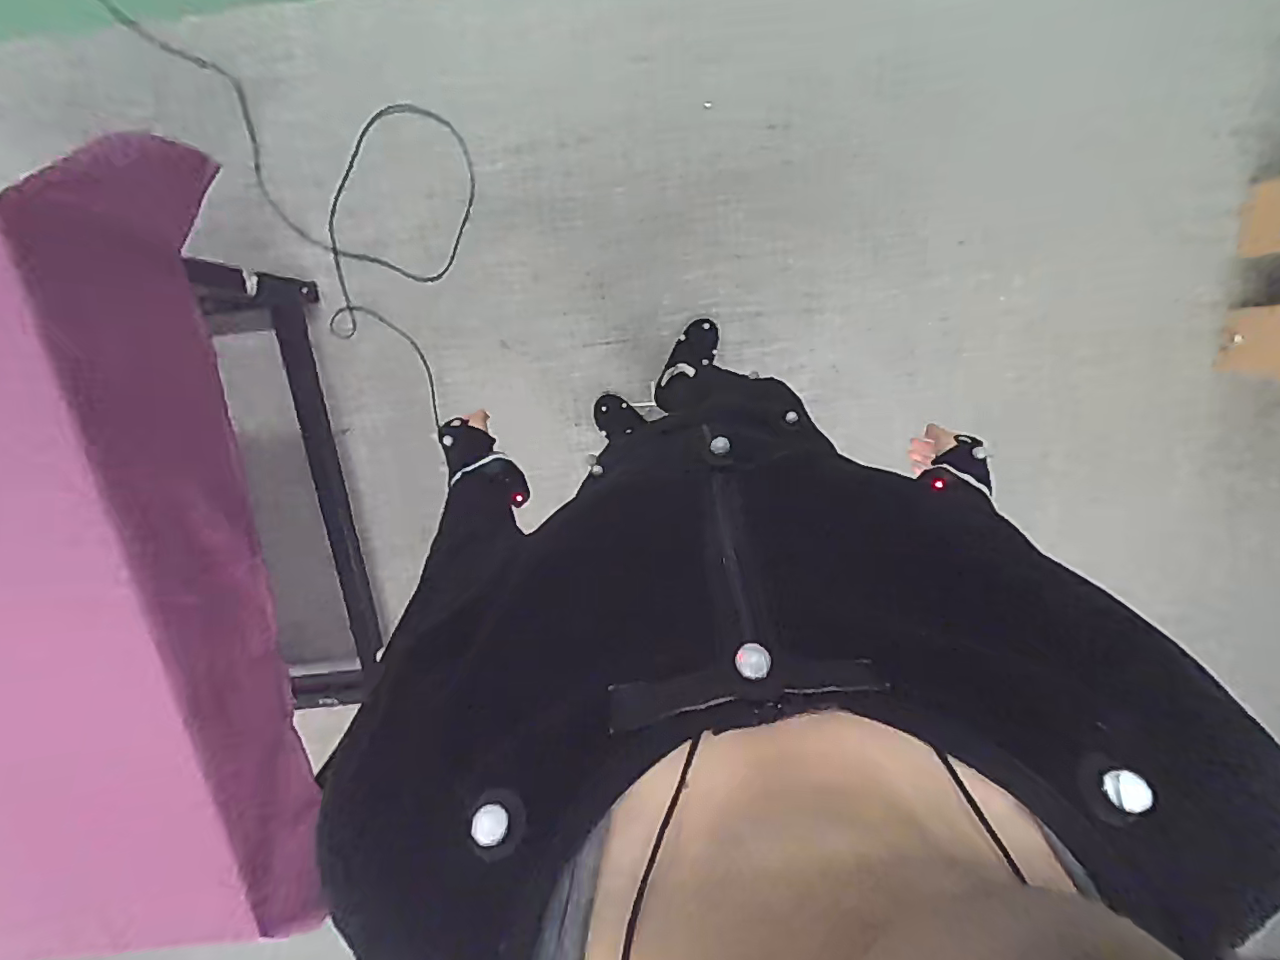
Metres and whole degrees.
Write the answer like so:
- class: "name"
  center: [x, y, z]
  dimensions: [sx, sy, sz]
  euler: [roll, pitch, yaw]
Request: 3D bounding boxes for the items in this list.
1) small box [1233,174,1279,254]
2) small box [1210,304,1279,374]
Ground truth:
- class: "small box"
  center: [1.605, -0.651, 1.303]
  dimensions: [0.168, 0.176, 0.179]
  euler: [-7, 103, 0]
- class: "small box"
  center: [1.636, -0.357, 1.374]
  dimensions: [0.179, 0.176, 0.168]
  euler: [3, 103, -1]
